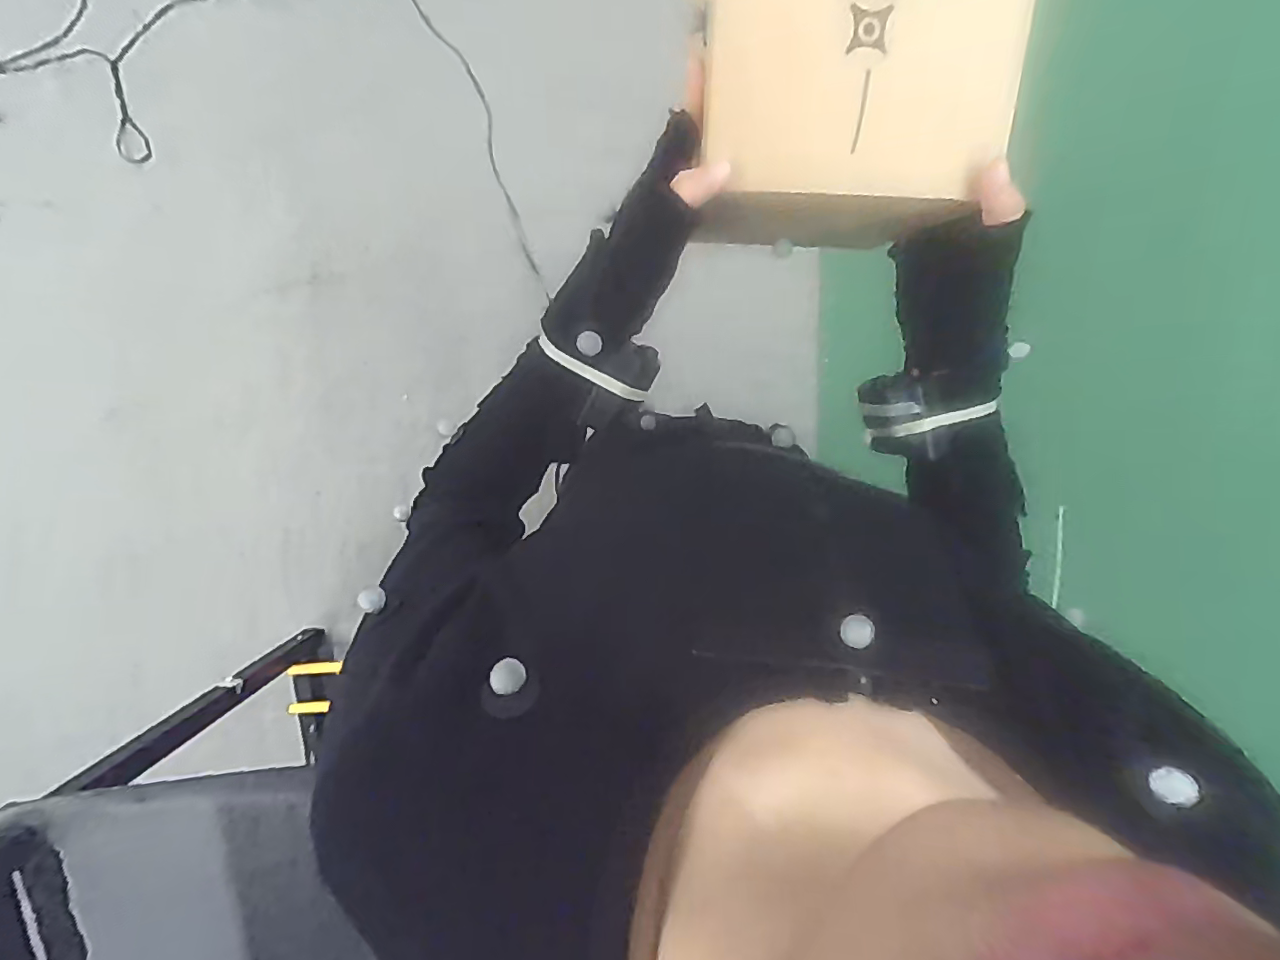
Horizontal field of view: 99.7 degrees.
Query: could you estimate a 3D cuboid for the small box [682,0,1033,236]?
[{"bbox_3d":[0.118,-0.271,0.351,0.168,0.176,0.179,2,105,-1],"label":"small box"}]
